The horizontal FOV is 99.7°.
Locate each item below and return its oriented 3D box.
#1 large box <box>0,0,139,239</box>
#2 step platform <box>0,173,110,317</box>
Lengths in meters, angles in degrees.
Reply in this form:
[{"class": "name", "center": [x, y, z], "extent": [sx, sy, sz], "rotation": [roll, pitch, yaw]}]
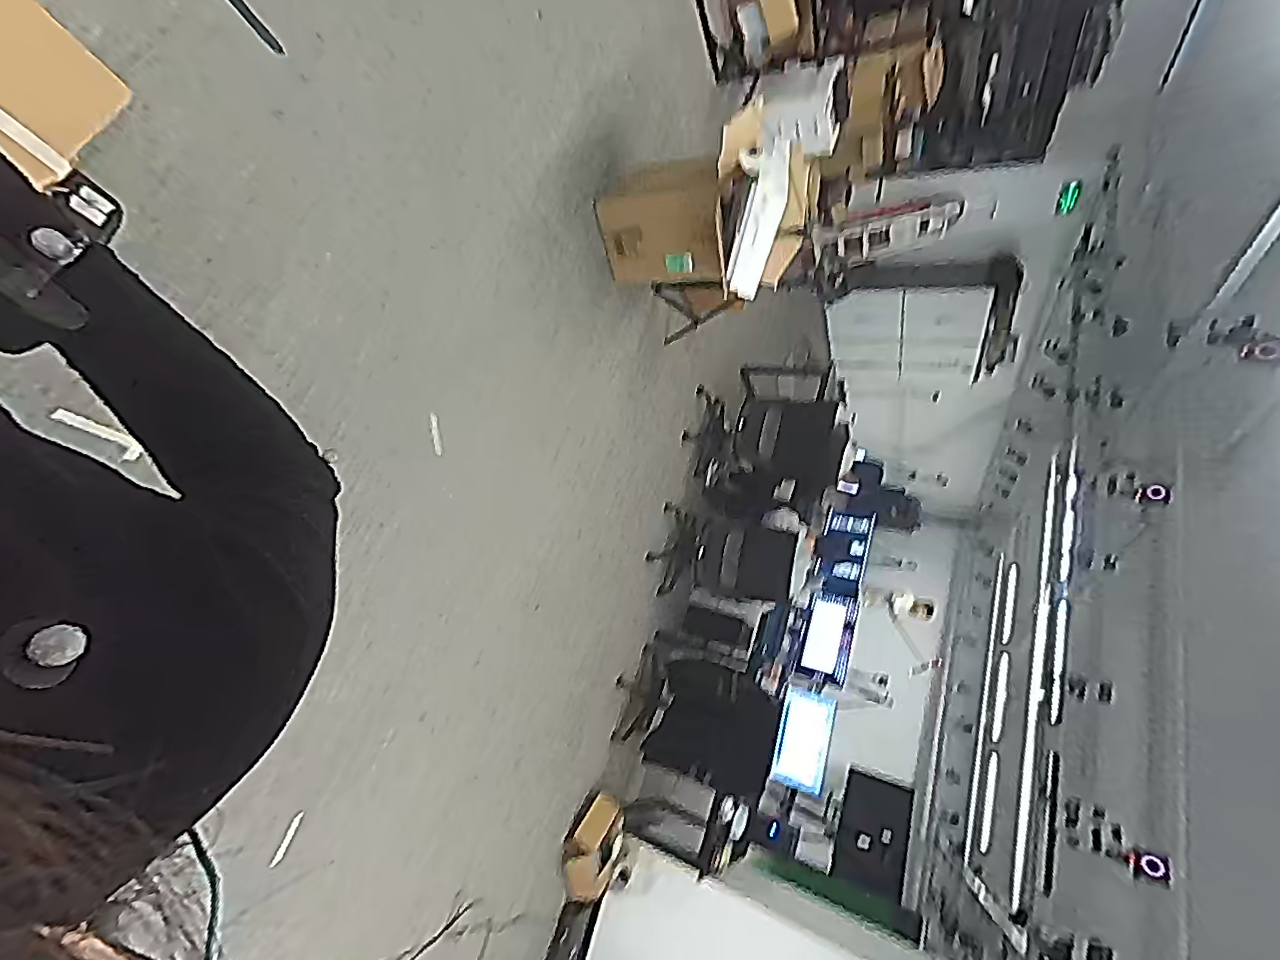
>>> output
[{"class": "large box", "center": [-0.951, -0.517, 0.622], "extent": [0.408, 0.320, 0.320], "rotation": [50, 54, -53]}, {"class": "step platform", "center": [-1.171, -0.544, 0.715], "extent": [0.286, 0.204, 0.684], "rotation": [-66, 148, -25]}]
